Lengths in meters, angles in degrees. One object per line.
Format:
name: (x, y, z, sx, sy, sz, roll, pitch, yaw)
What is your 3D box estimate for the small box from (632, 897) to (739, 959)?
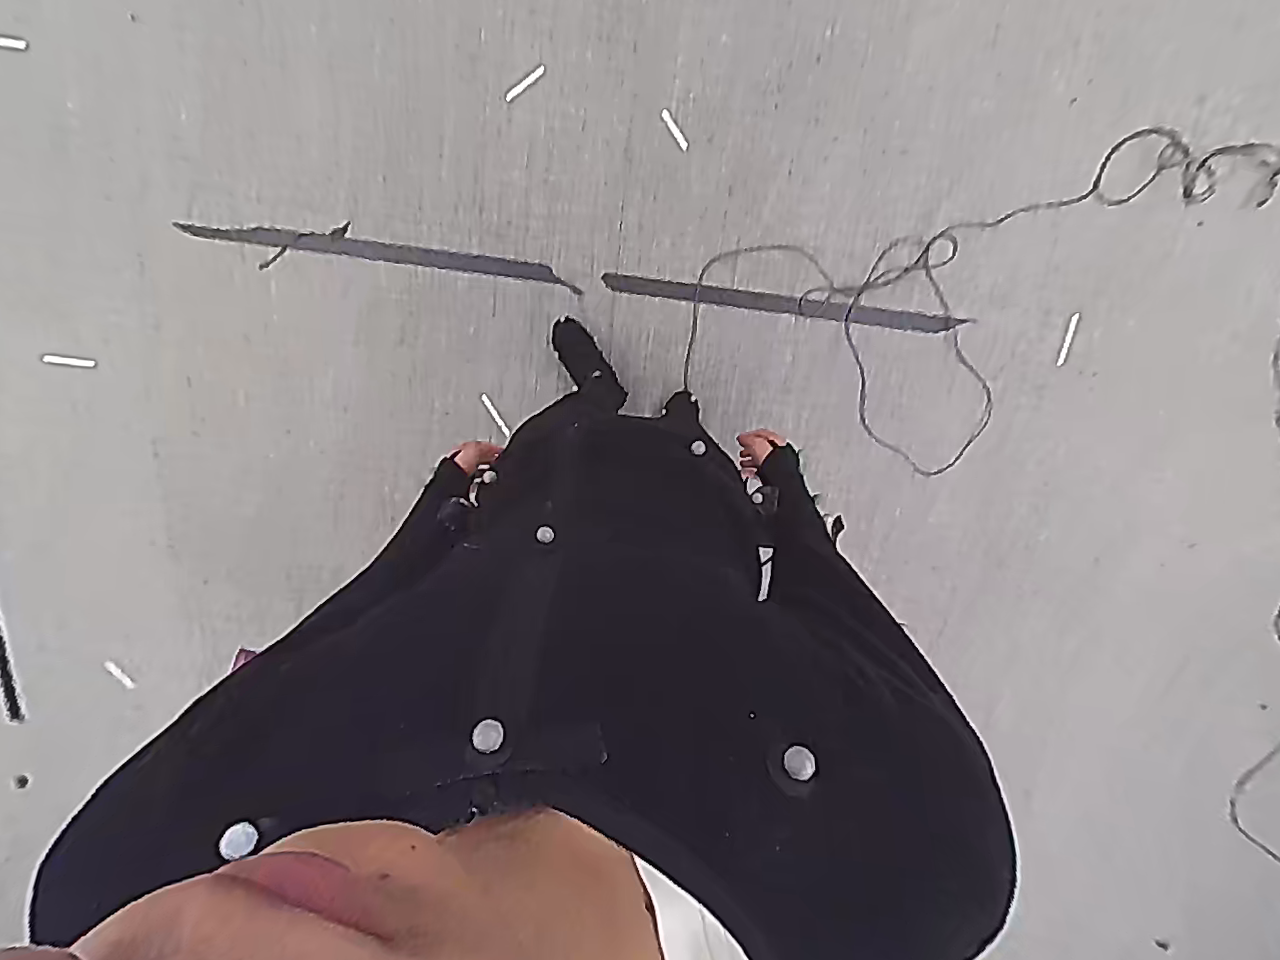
small box: (0.069, 0.805, 0.847, 0.168, 0.176, 0.179, 1, 105, 1)
